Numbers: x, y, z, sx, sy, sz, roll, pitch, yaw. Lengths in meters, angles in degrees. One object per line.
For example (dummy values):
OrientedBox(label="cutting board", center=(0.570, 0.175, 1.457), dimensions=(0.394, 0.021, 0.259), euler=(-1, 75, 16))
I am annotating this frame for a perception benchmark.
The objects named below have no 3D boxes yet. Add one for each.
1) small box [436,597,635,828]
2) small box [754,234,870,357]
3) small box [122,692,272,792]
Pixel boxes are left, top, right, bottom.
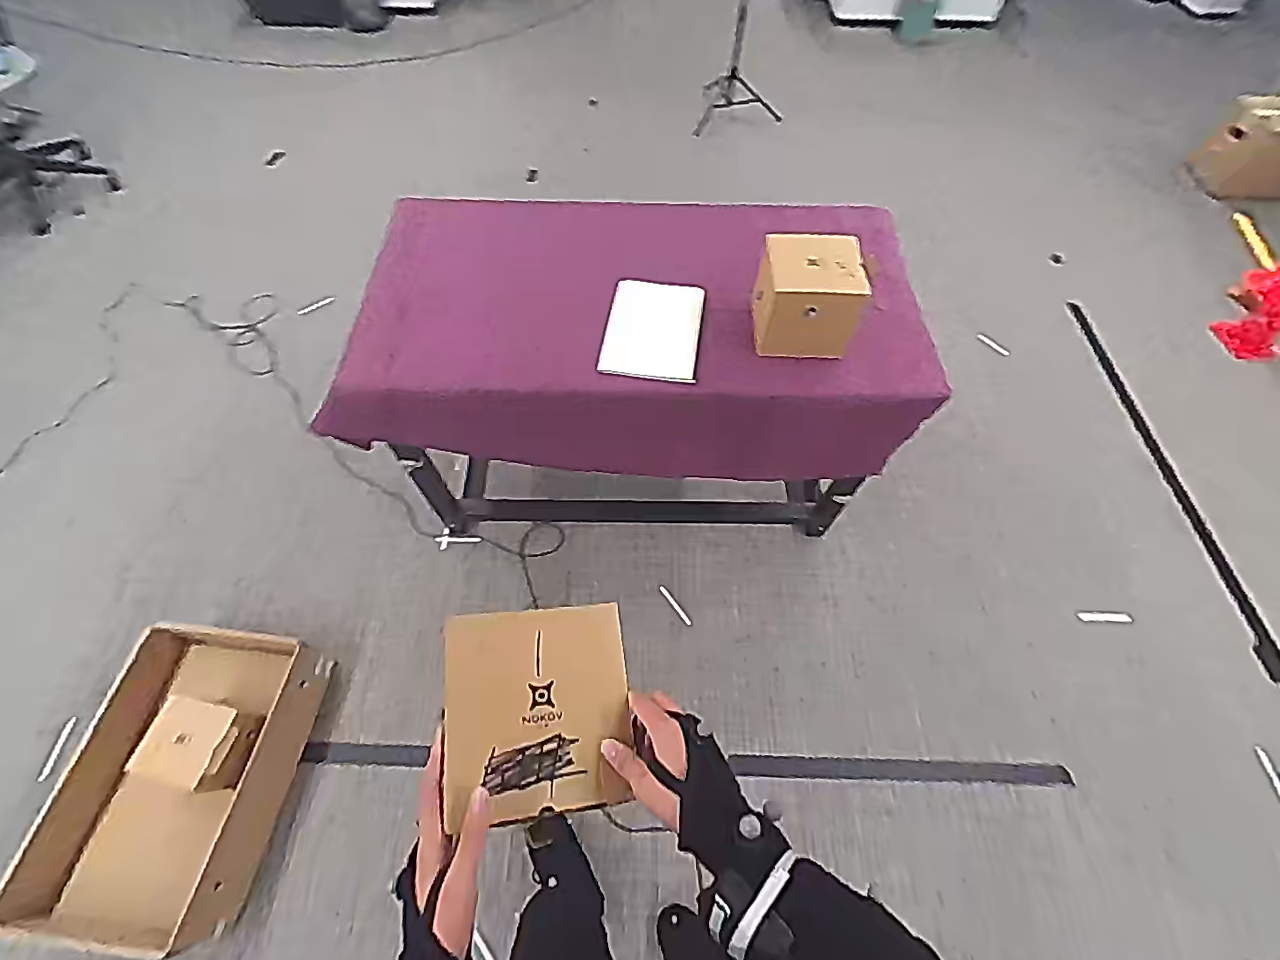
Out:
OrientedBox(label="small box", center=(-0.110, 0.226, 0.548), dimensions=(0.168, 0.176, 0.179), euler=(0, 65, -17))
OrientedBox(label="small box", center=(0.327, -0.360, 1.070), dimensions=(0.179, 0.176, 0.168), euler=(2, 60, 0))
OrientedBox(label="small box", center=(-1.019, 0.613, 1.265), dimensions=(0.179, 0.176, 0.168), euler=(13, 61, 6))
